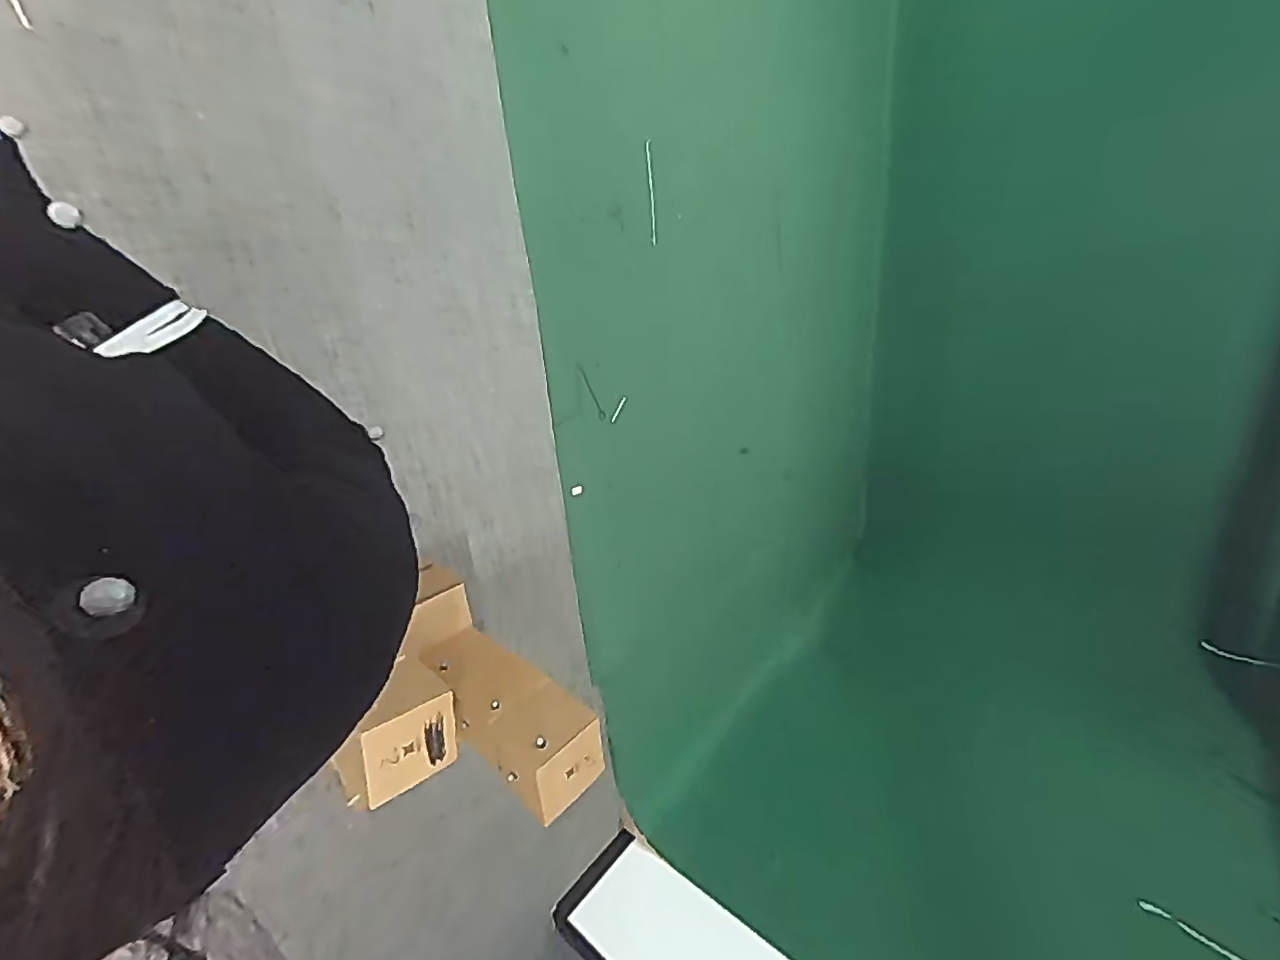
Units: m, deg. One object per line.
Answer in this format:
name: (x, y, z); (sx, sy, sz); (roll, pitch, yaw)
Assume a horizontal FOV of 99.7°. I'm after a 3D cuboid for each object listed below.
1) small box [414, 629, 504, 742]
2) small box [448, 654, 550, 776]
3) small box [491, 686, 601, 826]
small box: (-0.454, 0.518, 1.386); (0.179, 0.176, 0.168); (-29, 124, -42)
small box: (-0.327, 0.551, 1.289); (0.179, 0.176, 0.168); (-27, 123, -41)
small box: (-0.209, 0.592, 1.182); (0.179, 0.176, 0.168); (-26, 122, -43)
